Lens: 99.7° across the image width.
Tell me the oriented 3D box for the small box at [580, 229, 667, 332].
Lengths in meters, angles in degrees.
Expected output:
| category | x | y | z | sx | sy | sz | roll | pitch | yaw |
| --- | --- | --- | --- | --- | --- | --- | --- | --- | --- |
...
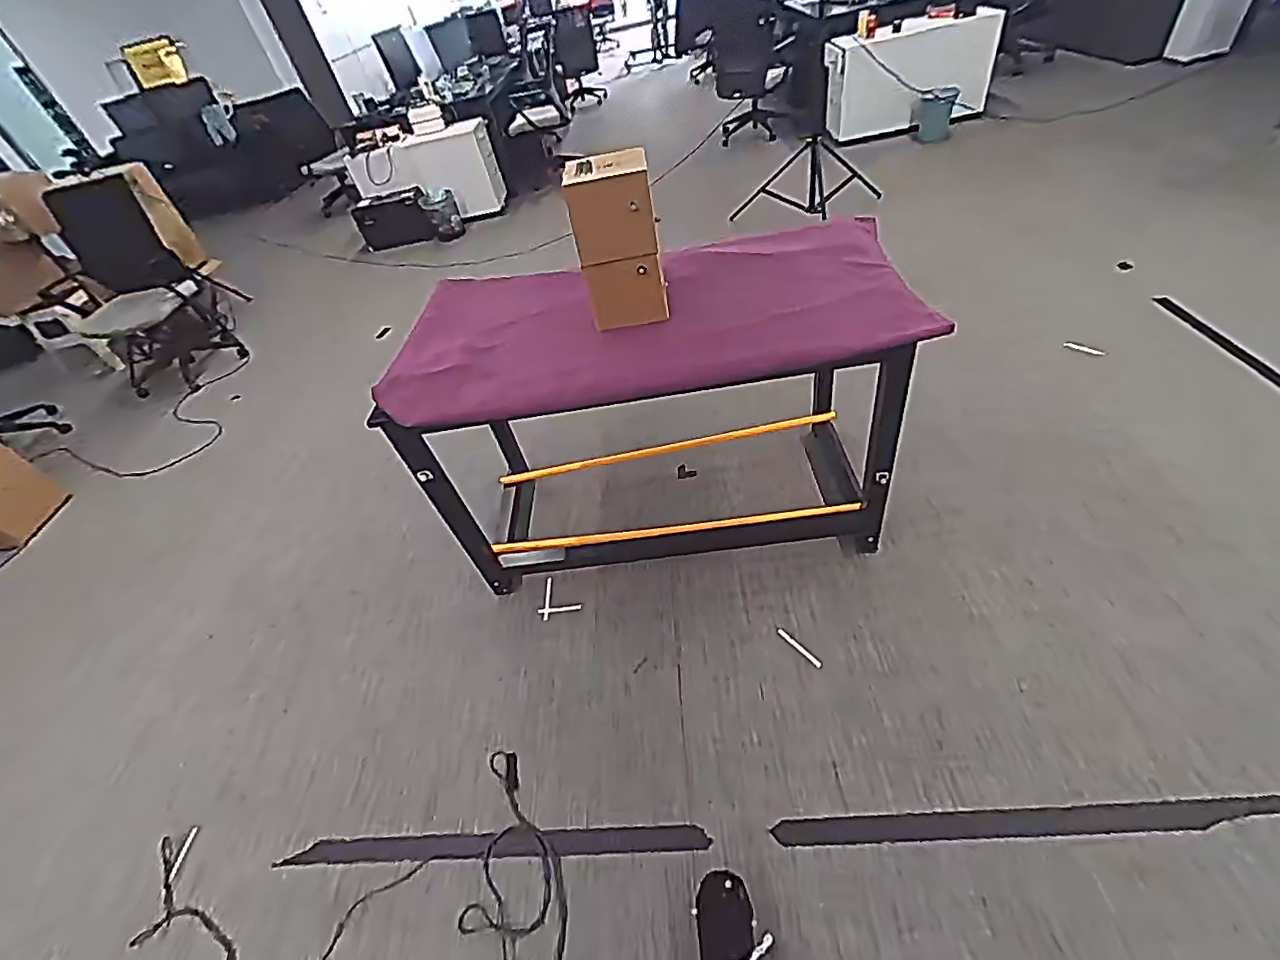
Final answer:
| category | x | y | z | sx | sy | sz | roll | pitch | yaw |
| --- | --- | --- | --- | --- | --- | --- | --- | --- | --- |
| small box | -0.035 | -0.475 | 1.300 | 0.179 | 0.176 | 0.168 | -8 | 44 | 6 |
